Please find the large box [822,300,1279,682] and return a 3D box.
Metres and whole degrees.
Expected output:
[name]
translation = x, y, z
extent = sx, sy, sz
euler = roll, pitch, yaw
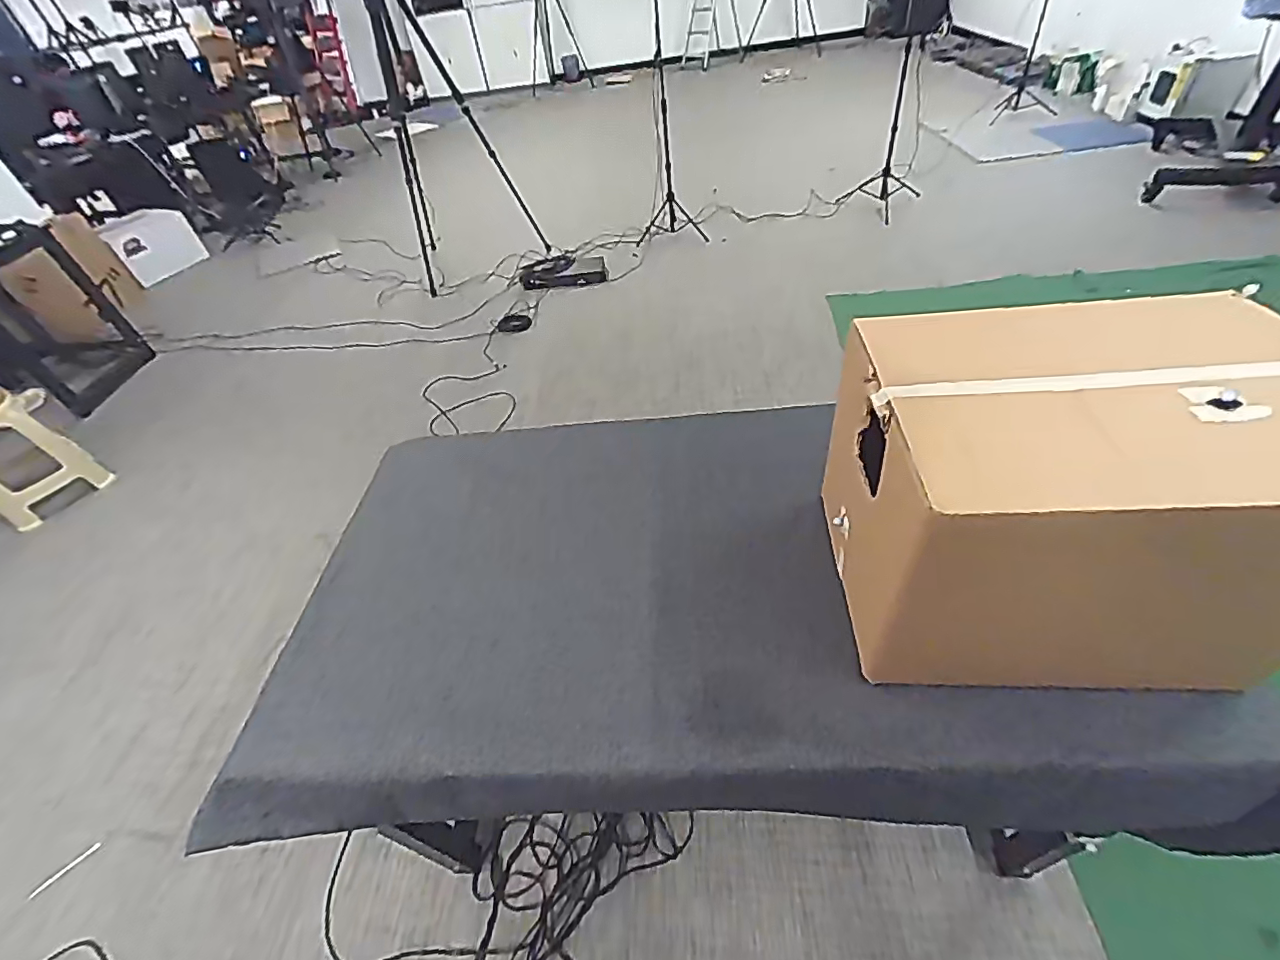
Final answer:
[large box]
translation = 0.458, 0.019, 0.620
extent = 0.408, 0.320, 0.320
euler = -2, 45, 7
